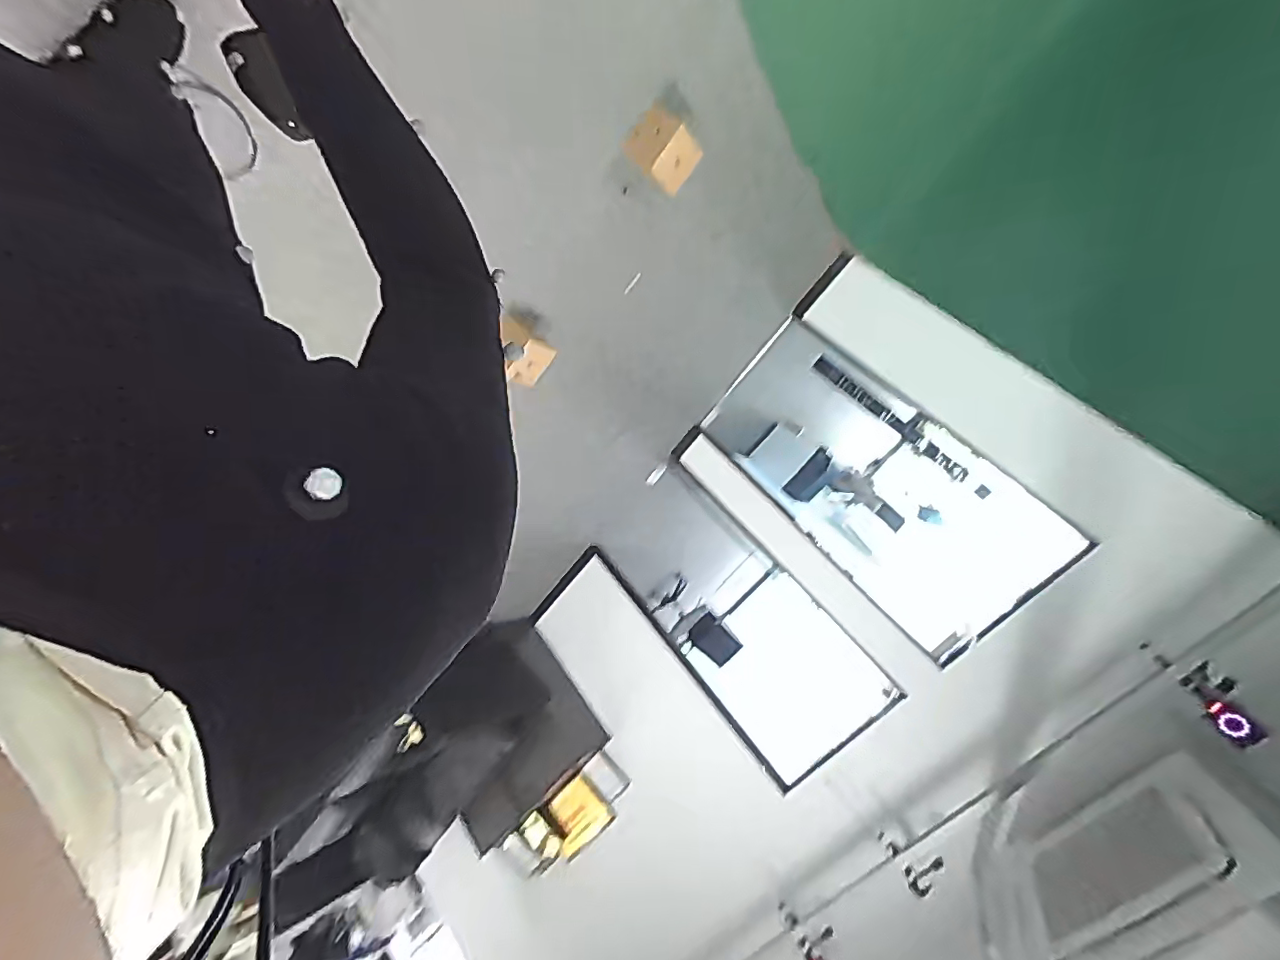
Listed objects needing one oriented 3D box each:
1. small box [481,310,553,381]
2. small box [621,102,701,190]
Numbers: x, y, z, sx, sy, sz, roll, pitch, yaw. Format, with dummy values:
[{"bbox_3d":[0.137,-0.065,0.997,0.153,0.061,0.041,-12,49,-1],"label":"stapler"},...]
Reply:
[{"bbox_3d":[-0.471,-0.512,2.052,0.179,0.176,0.168,-49,155,16],"label":"small box"},{"bbox_3d":[0.068,-1.128,1.820,0.168,0.176,0.179,-50,156,17],"label":"small box"}]
